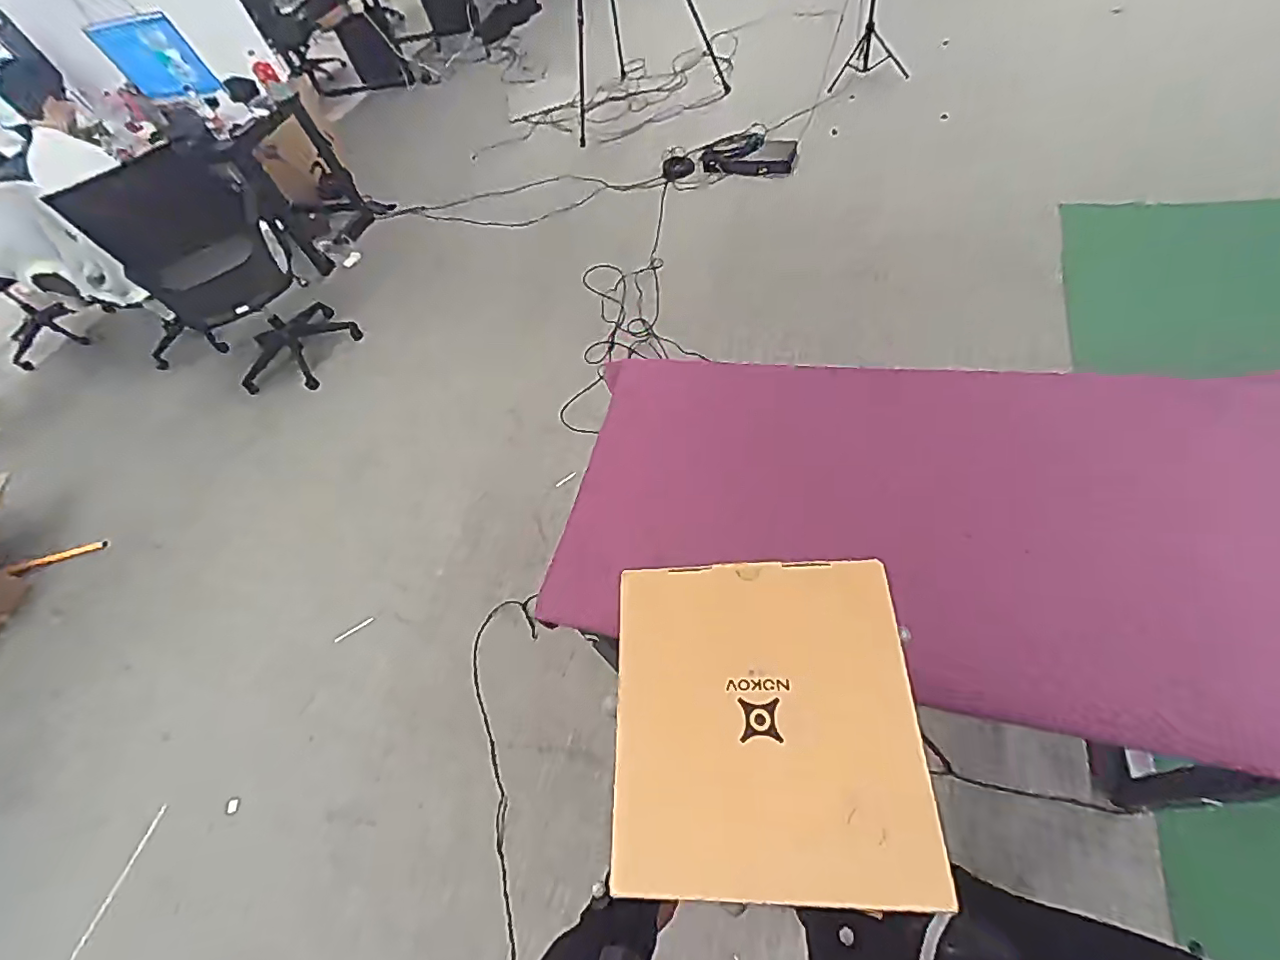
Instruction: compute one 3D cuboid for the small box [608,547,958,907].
[{"bbox_3d":[0.081,0.160,0.364,0.168,0.176,0.179,-3,58,9],"label":"small box"}]
